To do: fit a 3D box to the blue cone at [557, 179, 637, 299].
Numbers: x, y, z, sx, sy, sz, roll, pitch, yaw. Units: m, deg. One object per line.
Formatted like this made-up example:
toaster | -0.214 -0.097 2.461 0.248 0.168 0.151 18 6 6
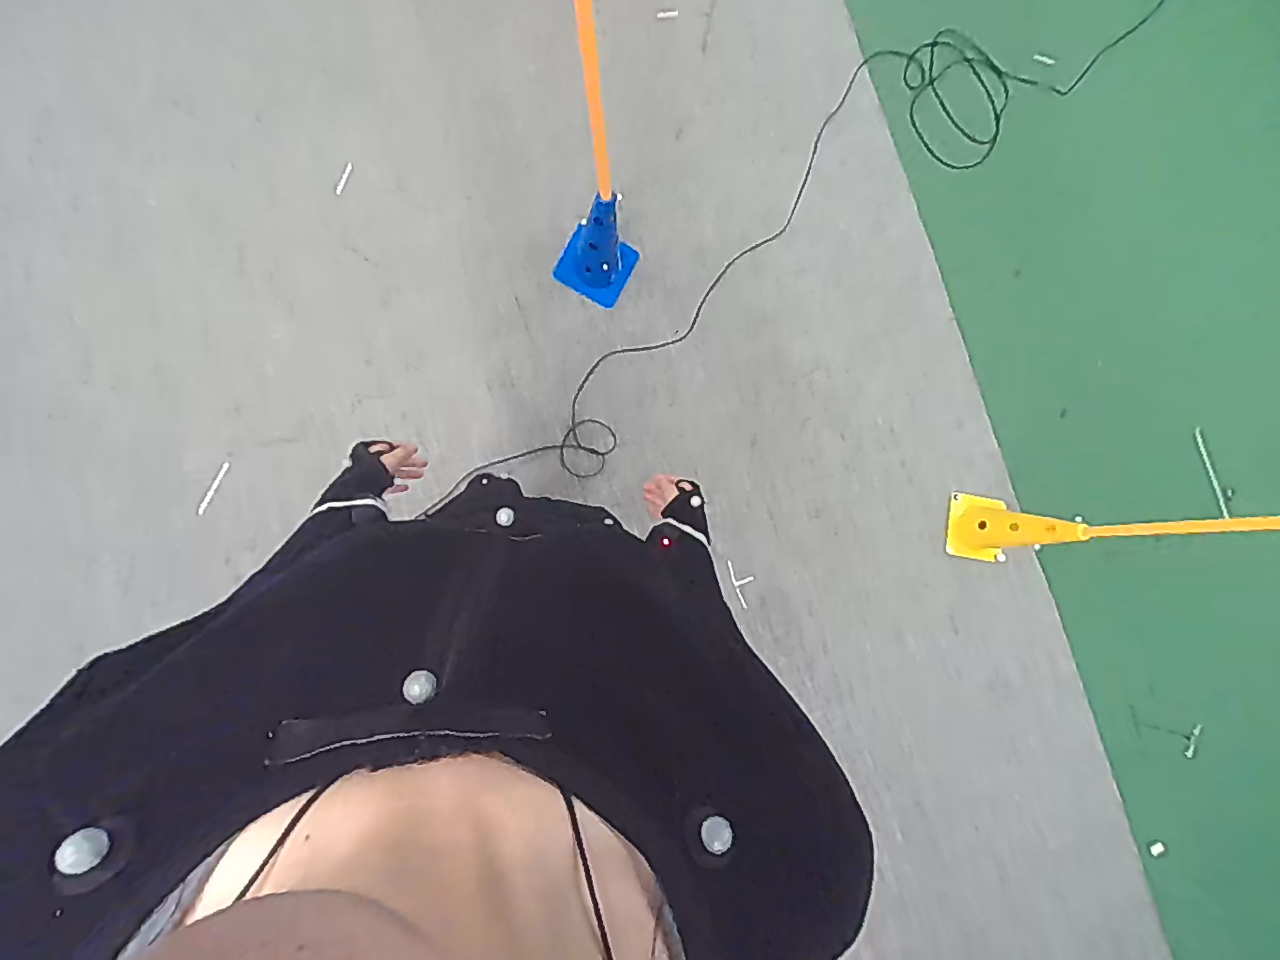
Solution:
blue cone | -0.099 -0.631 1.378 0.193 0.380 0.192 26 84 -6
